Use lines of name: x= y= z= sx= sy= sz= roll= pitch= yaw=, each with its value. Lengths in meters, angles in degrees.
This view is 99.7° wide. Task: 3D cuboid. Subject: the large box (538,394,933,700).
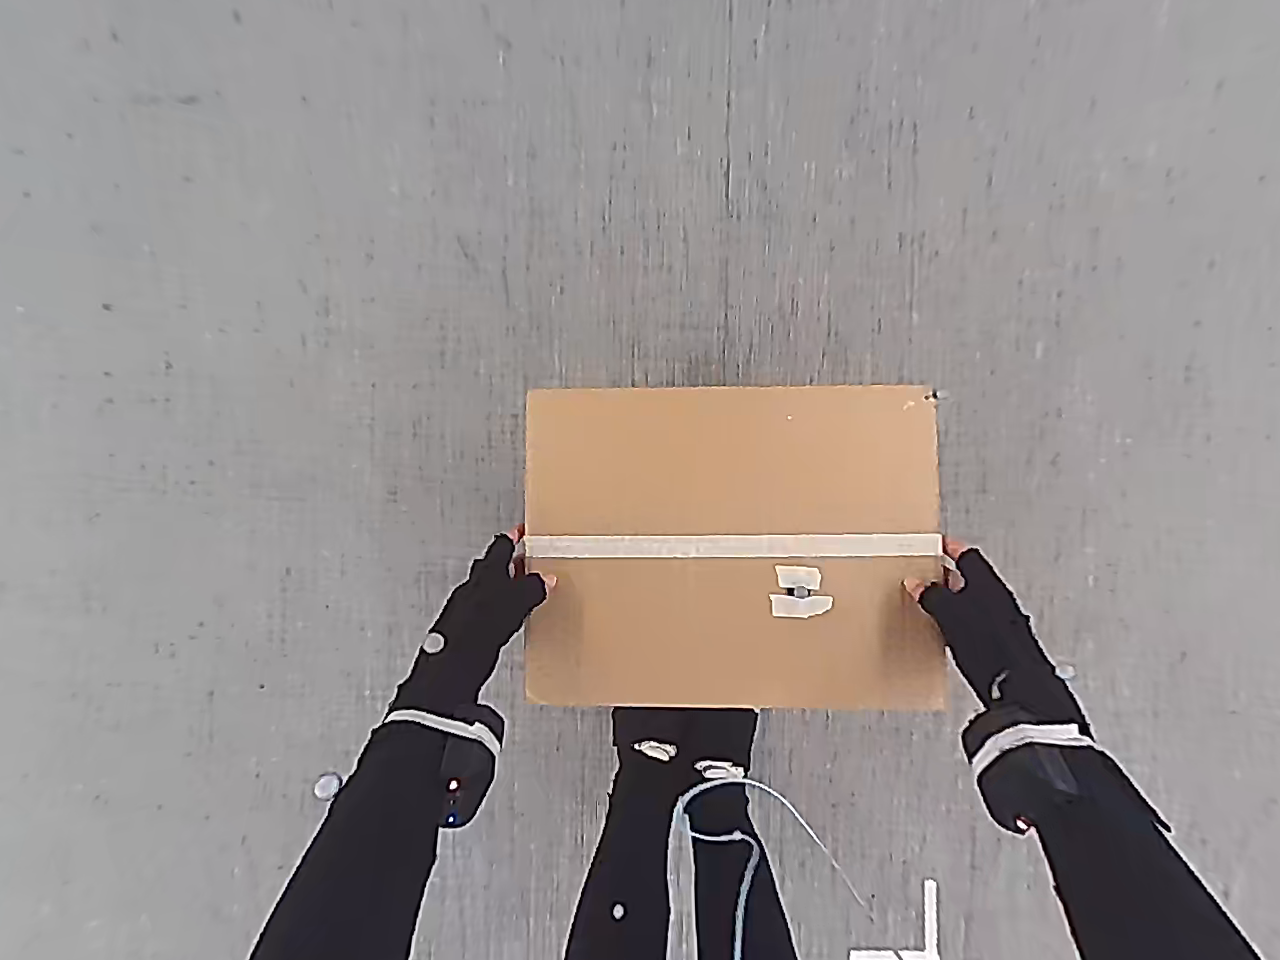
large box: x=0.097 y=0.077 z=0.705 sx=0.408 sy=0.320 sz=0.320 roll=-1 pitch=88 yaw=2
